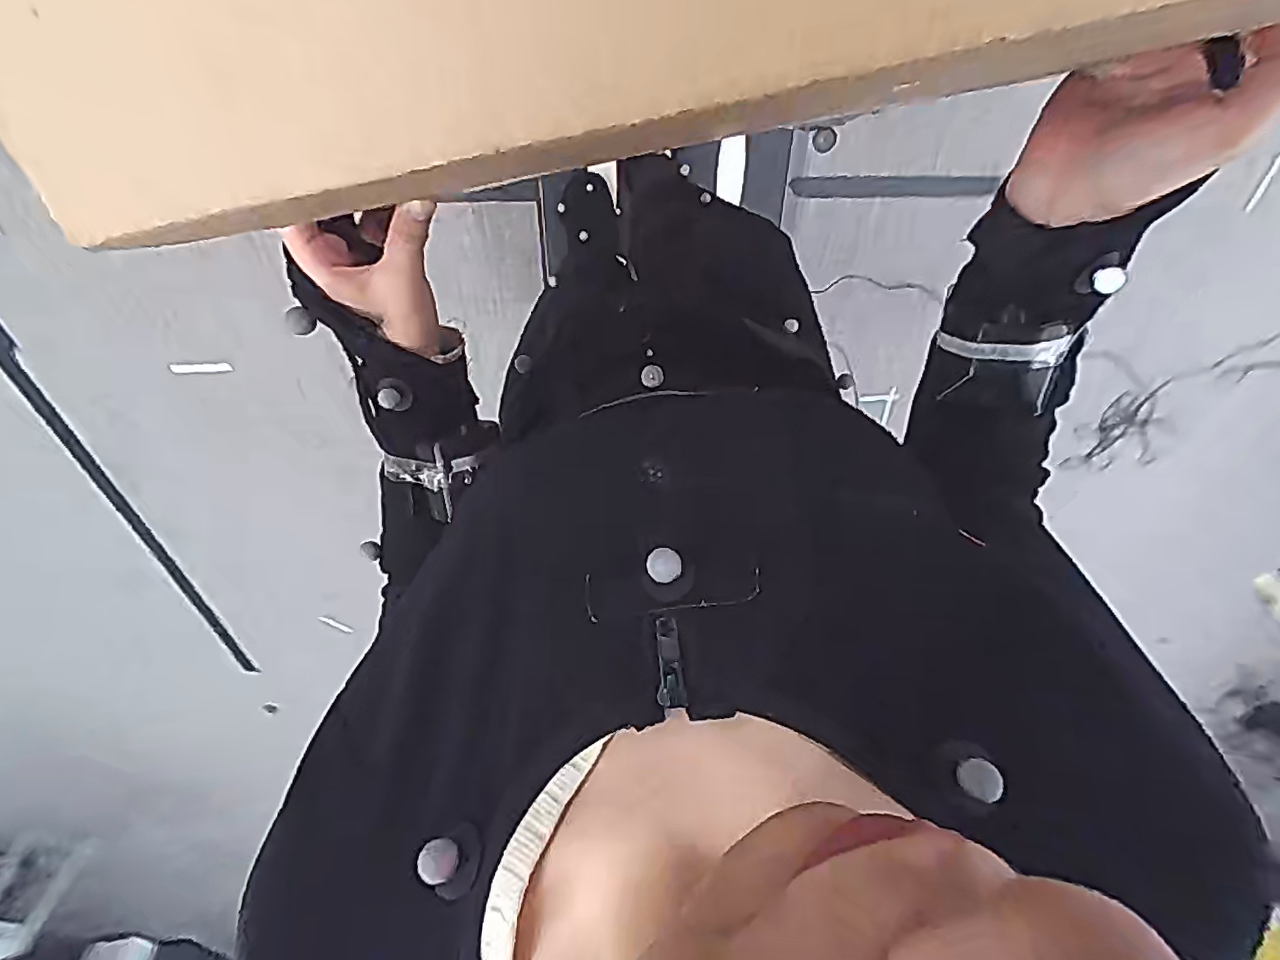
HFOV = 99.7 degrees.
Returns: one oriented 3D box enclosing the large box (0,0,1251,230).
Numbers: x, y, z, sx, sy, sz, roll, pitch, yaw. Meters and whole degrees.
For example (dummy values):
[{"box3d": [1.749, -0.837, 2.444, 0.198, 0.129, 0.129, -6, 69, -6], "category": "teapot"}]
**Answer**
[{"box3d": [-0.009, -0.303, 0.185, 0.408, 0.320, 0.320, -5, 121, 13], "category": "large box"}]
